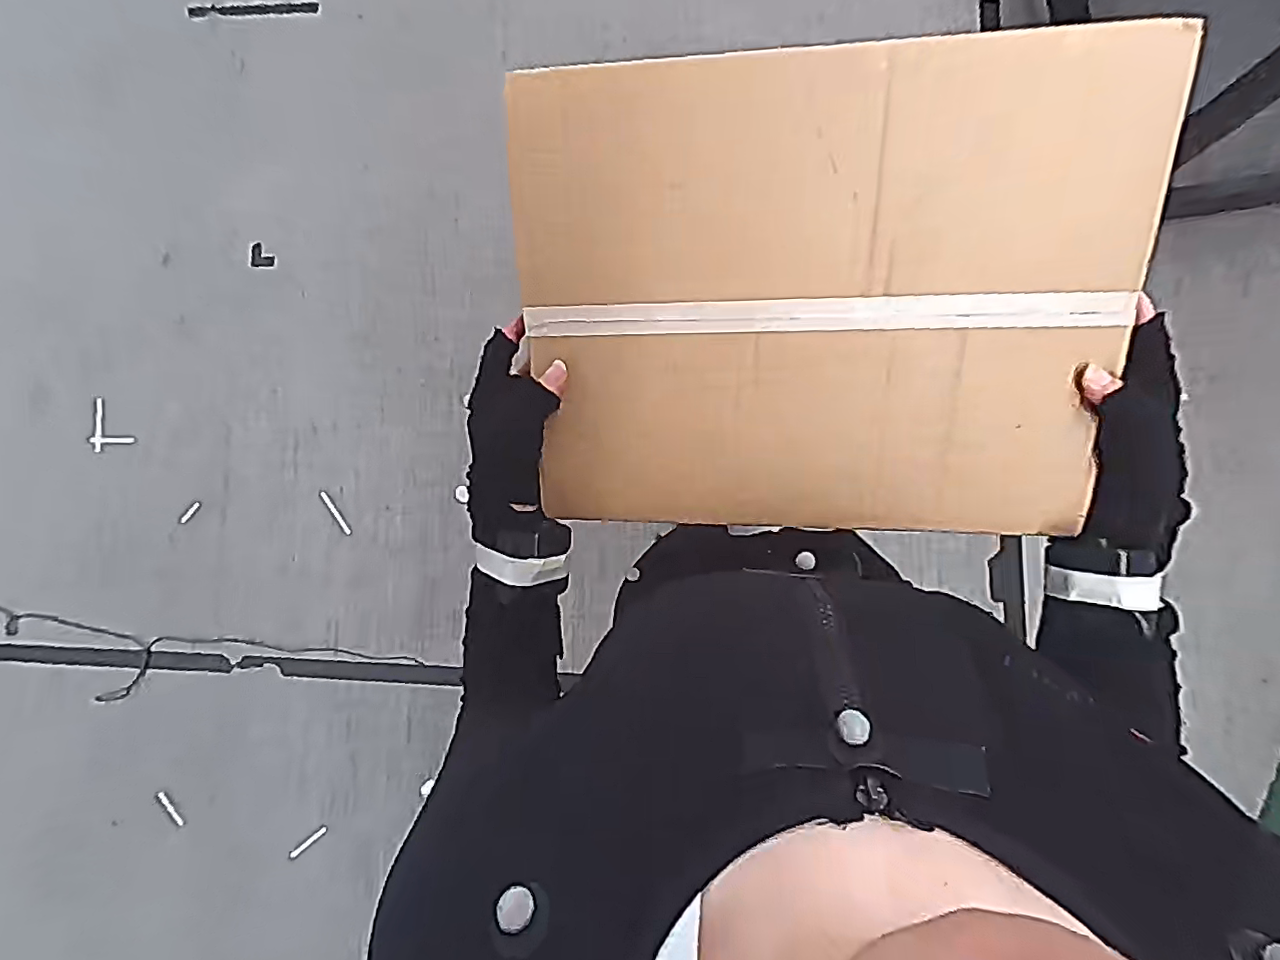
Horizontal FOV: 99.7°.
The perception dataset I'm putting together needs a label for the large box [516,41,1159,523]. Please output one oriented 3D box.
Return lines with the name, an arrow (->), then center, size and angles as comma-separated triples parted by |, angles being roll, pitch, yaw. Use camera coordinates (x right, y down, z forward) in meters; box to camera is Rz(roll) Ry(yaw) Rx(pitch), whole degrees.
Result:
large box -> 0.132, -0.159, 0.529 | 0.408, 0.320, 0.320 | 1, 109, 7
